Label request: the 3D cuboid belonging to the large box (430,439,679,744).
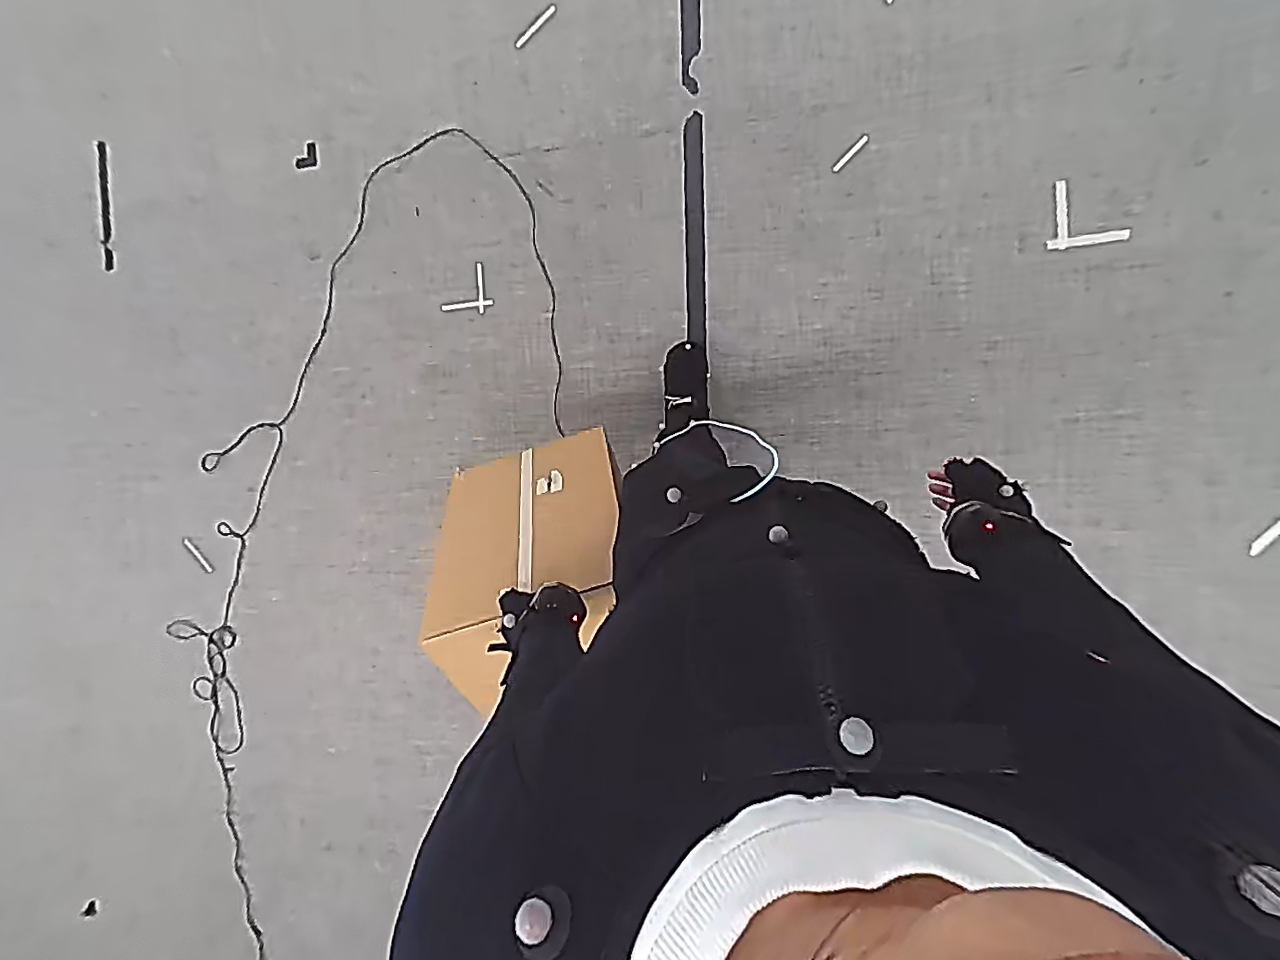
[{"bbox_3d":[-0.145,0.189,0.999,0.320,0.408,0.320,-17,126,1],"label":"large box"}]
